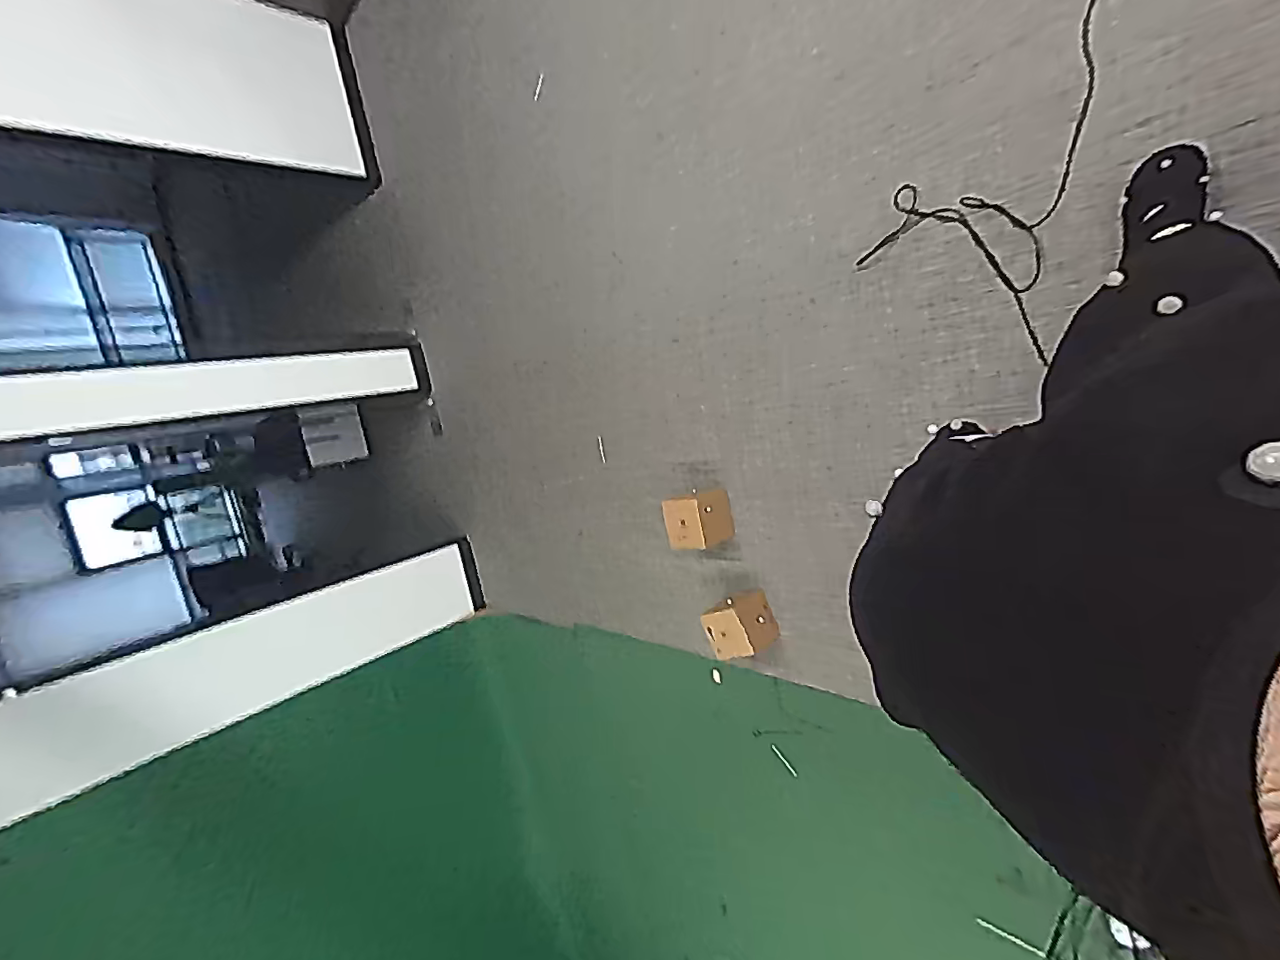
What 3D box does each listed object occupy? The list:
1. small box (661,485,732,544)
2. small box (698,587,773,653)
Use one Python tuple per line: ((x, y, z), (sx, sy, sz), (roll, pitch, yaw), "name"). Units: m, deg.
((0.202, 0.117, 1.913), (0.168, 0.176, 0.179), (-4, 100, 46), "small box")
((0.344, 0.489, 1.901), (0.179, 0.176, 0.168), (-28, 84, 46), "small box")
